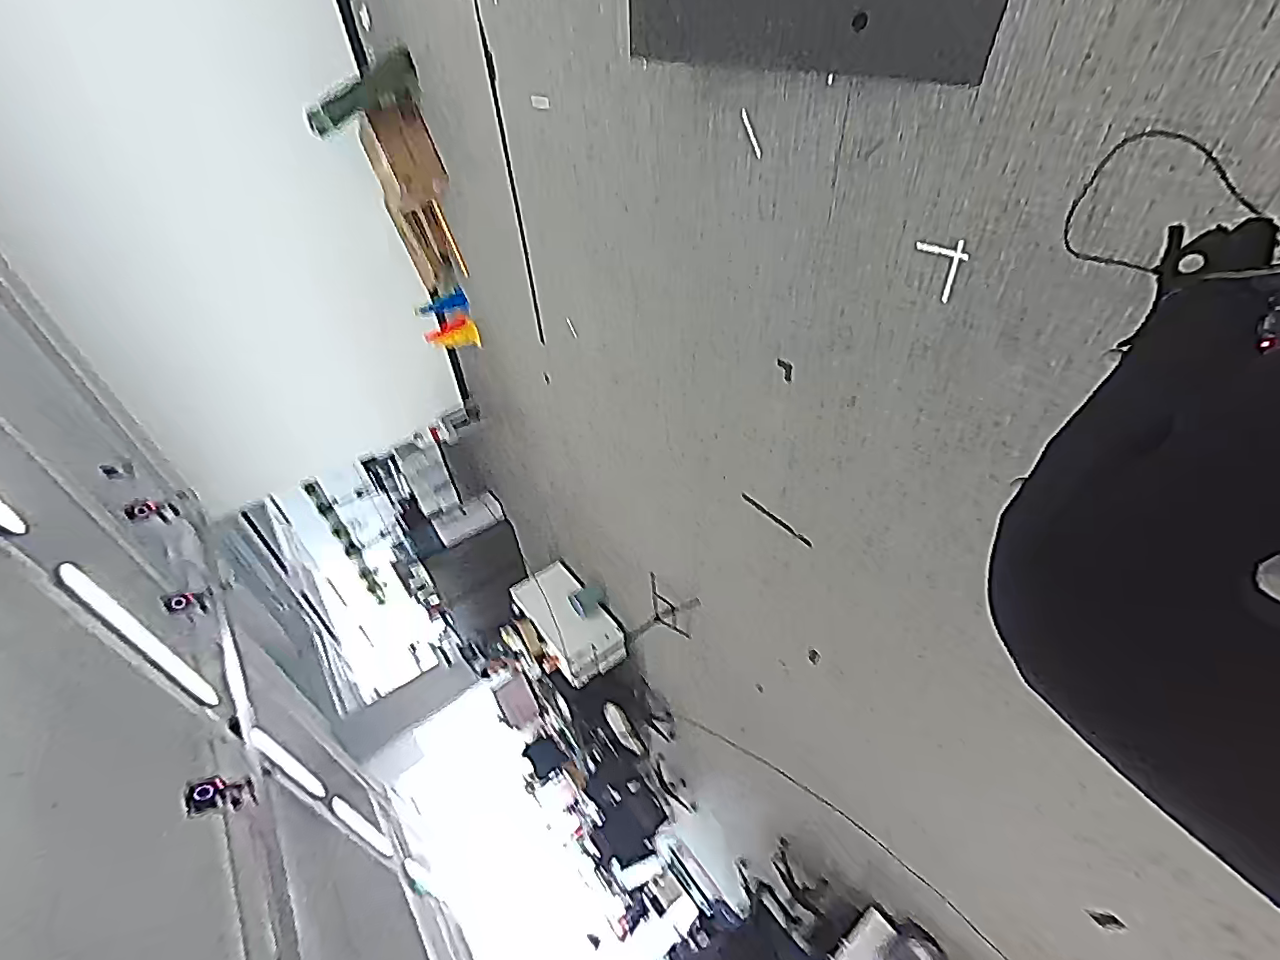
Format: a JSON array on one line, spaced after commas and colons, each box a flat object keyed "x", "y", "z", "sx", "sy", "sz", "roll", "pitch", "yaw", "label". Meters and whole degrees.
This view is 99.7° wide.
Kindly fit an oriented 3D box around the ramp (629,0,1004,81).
[{"x": 0.345, "y": -1.253, "z": 1.244, "sx": 0.991, "sy": 0.206, "sz": 0.509, "roll": 39, "pitch": 145, "yaw": 37, "label": "ramp"}]
